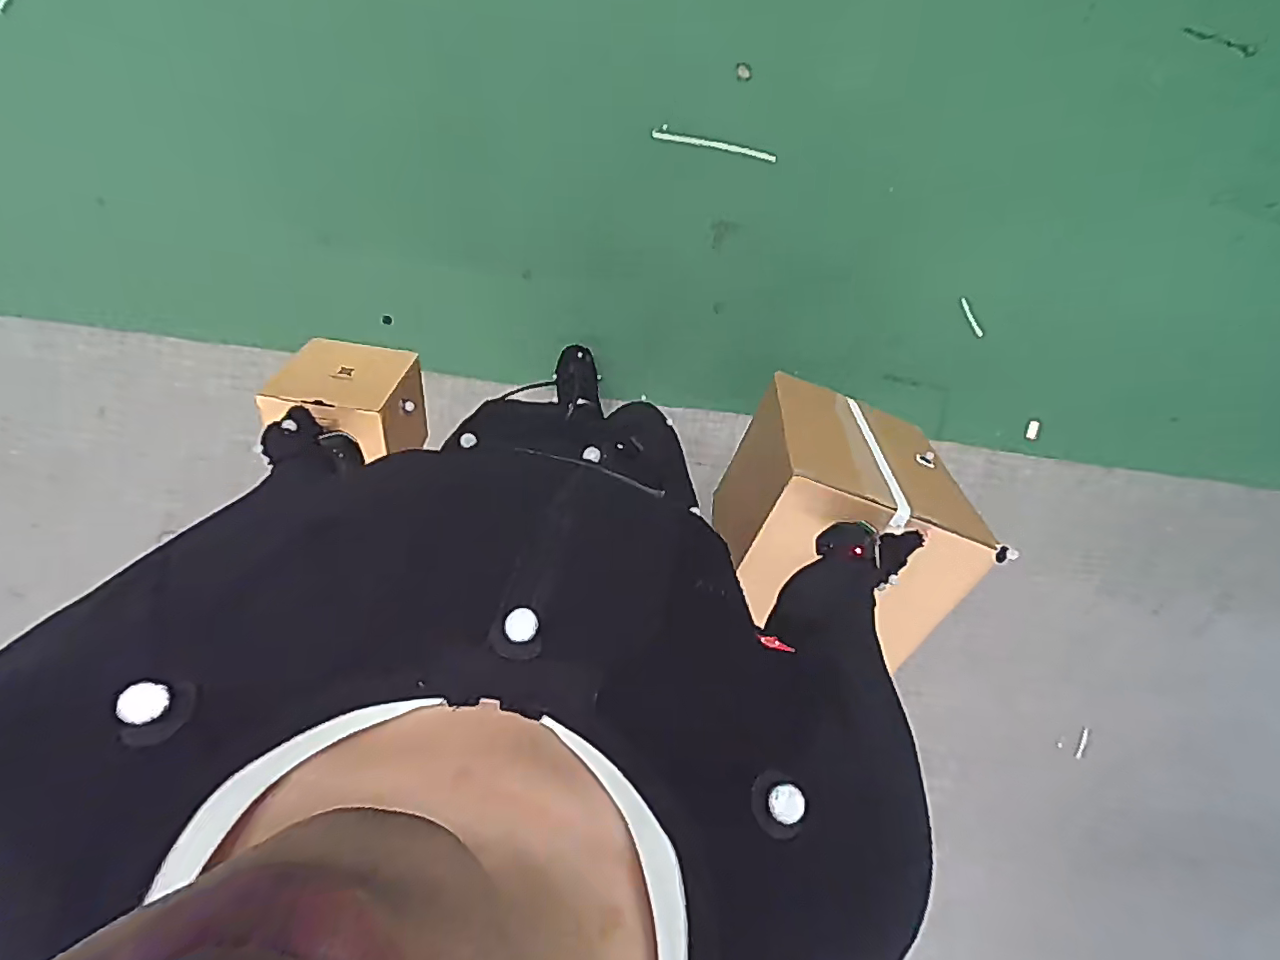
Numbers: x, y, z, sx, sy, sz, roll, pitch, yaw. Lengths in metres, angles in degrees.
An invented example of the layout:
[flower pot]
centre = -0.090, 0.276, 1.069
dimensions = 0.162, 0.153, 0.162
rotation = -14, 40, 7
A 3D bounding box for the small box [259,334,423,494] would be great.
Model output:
[small box]
centre = -0.453, -0.105, 0.856
dimensions = 0.168, 0.179, 0.176
rotation = 8, 131, -6
